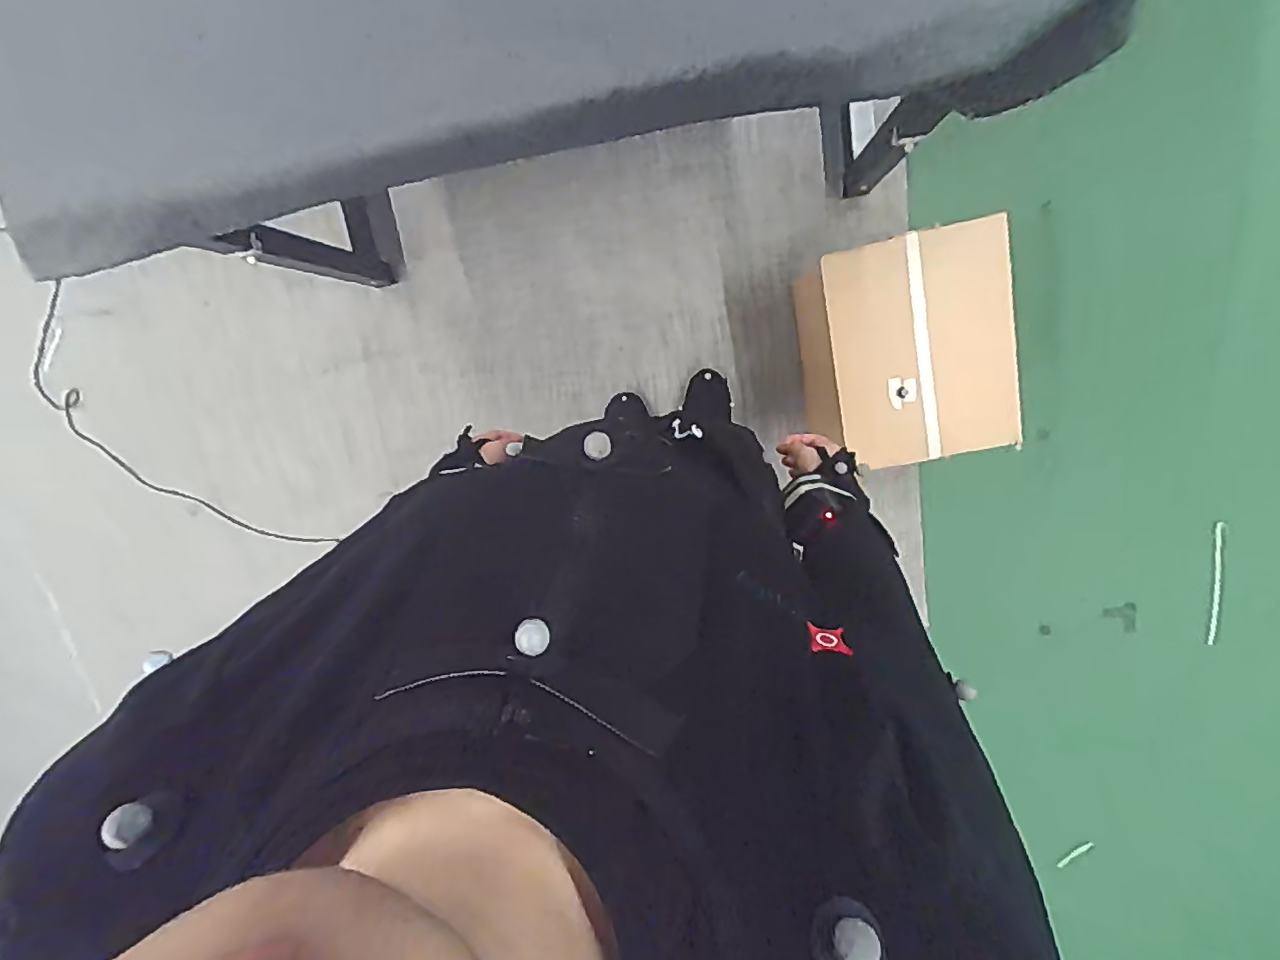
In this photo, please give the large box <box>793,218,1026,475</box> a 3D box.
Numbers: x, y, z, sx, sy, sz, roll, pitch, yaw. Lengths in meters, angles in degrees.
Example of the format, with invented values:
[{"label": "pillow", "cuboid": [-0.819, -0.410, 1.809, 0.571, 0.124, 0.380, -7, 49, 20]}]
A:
[{"label": "large box", "cuboid": [0.527, -0.259, 1.115, 0.320, 0.320, 0.408, -11, 101, 9]}]
